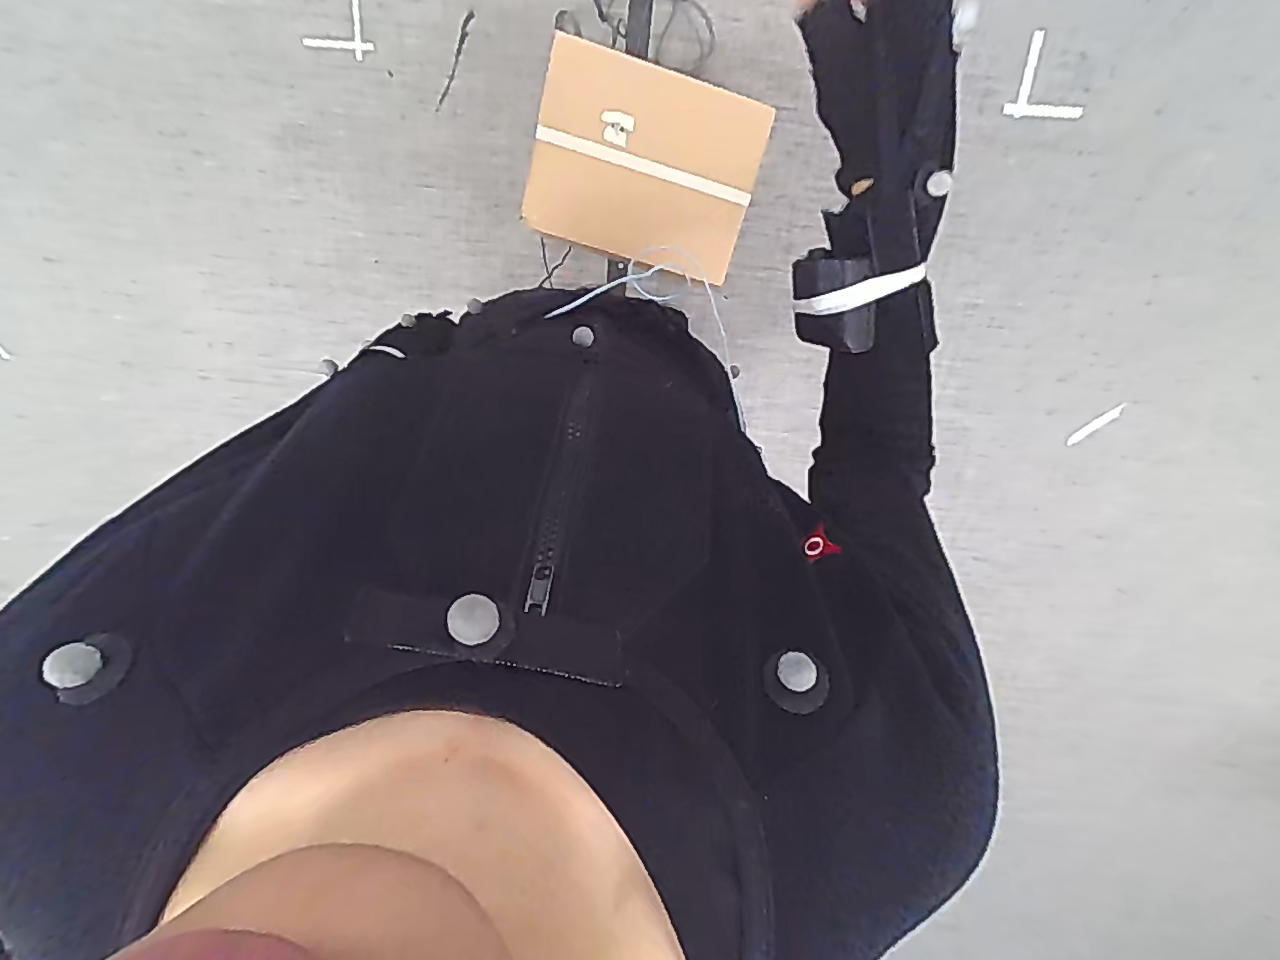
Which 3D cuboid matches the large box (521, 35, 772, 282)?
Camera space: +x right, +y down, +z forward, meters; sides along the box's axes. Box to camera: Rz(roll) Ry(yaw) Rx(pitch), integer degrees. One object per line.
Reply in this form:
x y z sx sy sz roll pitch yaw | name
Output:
0.005 -0.624 1.129 0.408 0.320 0.320 15 108 -7 | large box
